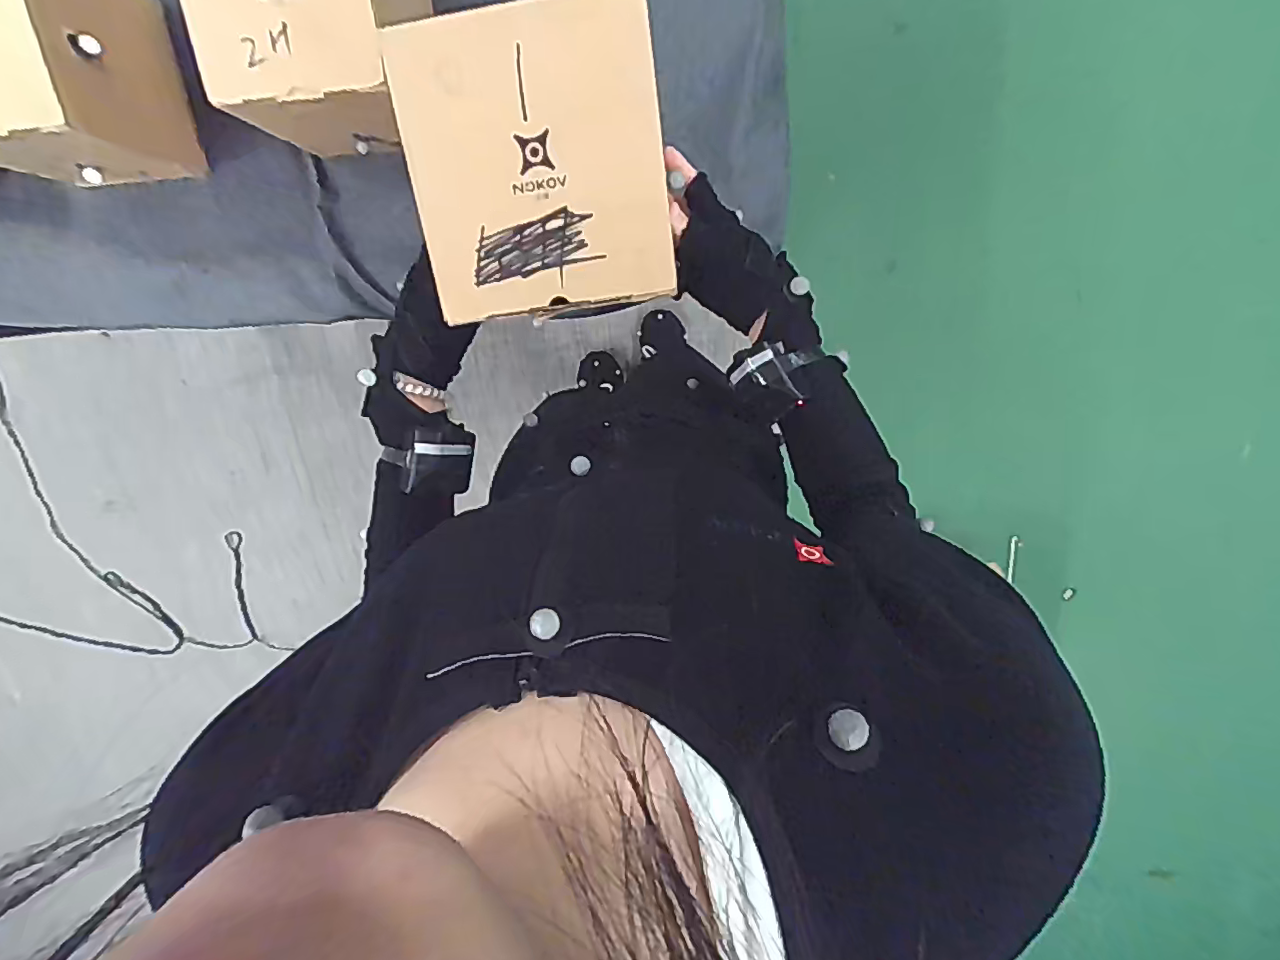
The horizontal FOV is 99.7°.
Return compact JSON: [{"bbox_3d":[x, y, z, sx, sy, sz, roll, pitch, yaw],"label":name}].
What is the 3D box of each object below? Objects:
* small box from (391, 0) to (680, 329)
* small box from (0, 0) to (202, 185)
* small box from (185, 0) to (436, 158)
[{"bbox_3d":[-0.057,-0.223,0.423,0.168,0.176,0.179,-6,108,5],"label":"small box"},{"bbox_3d":[-0.602,-0.417,0.543,0.168,0.176,0.179,-4,108,1],"label":"small box"},{"bbox_3d":[-0.305,-0.442,0.531,0.168,0.176,0.179,-4,107,2],"label":"small box"}]
